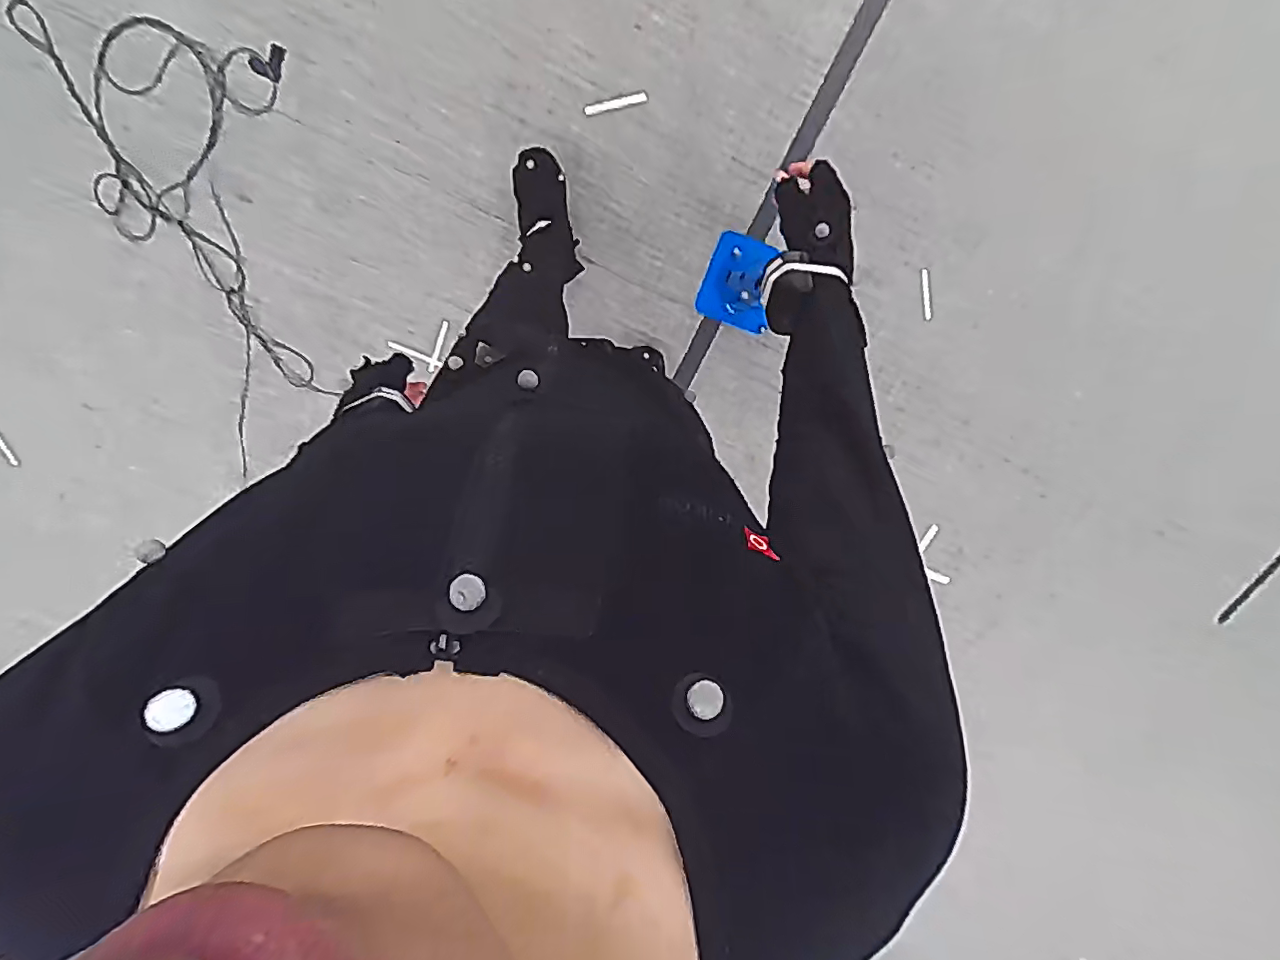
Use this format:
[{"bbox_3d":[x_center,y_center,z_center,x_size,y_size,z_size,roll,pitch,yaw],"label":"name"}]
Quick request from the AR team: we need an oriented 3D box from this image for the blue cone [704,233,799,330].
[{"bbox_3d":[0.265,-0.423,1.169,0.192,0.380,0.193,20,110,-9],"label":"blue cone"}]
